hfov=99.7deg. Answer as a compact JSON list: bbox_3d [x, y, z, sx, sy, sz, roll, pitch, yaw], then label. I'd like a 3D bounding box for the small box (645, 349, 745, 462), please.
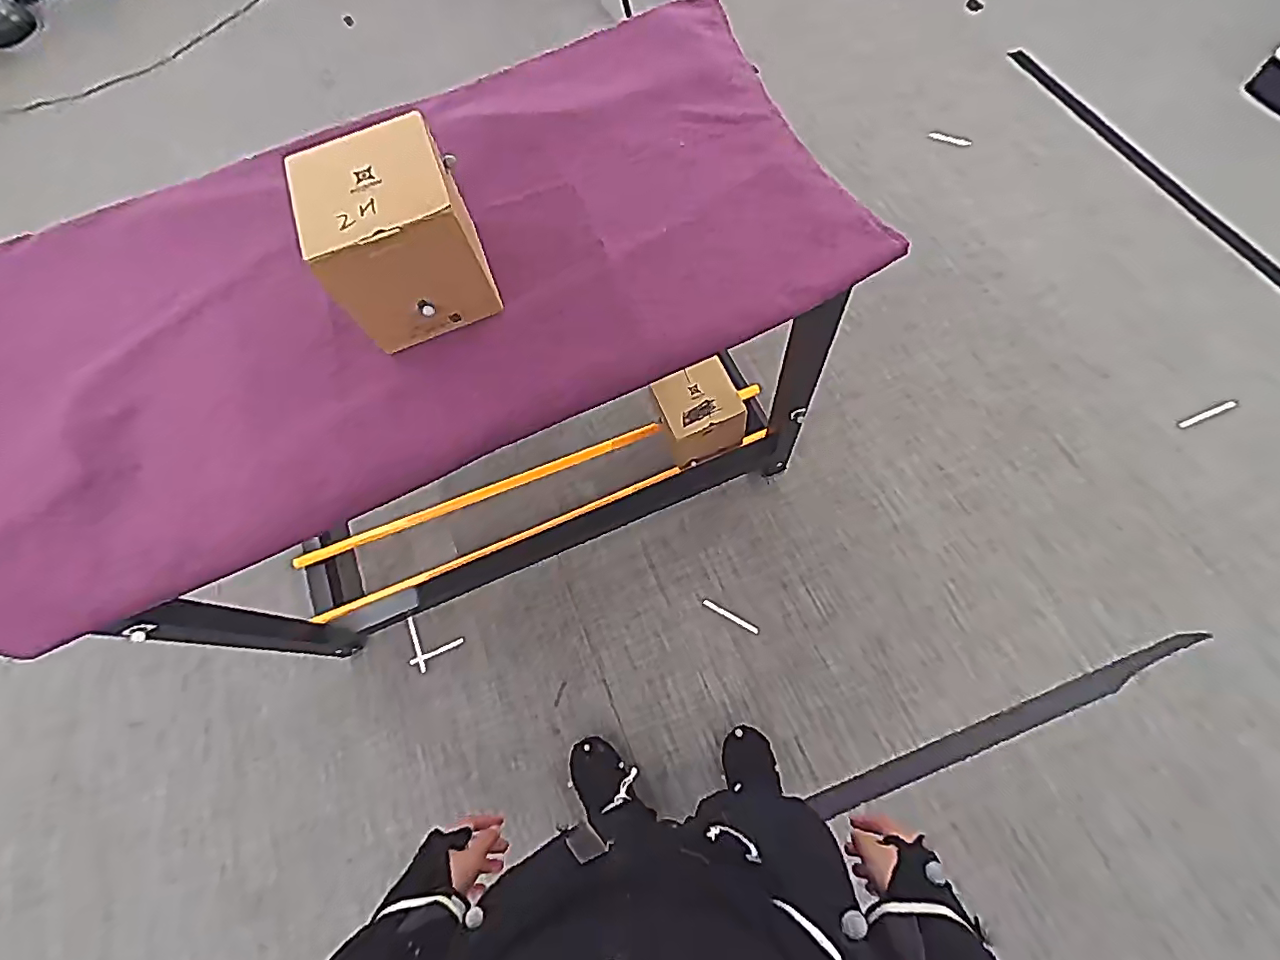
[{"bbox_3d":[0.125,-0.158,1.226,0.168,0.176,0.179,-23,68,-2],"label":"small box"}]

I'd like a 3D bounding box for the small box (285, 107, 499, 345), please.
[{"bbox_3d":[-0.293,-0.301,0.663,0.168,0.176,0.179,-22,68,-2],"label":"small box"}]
